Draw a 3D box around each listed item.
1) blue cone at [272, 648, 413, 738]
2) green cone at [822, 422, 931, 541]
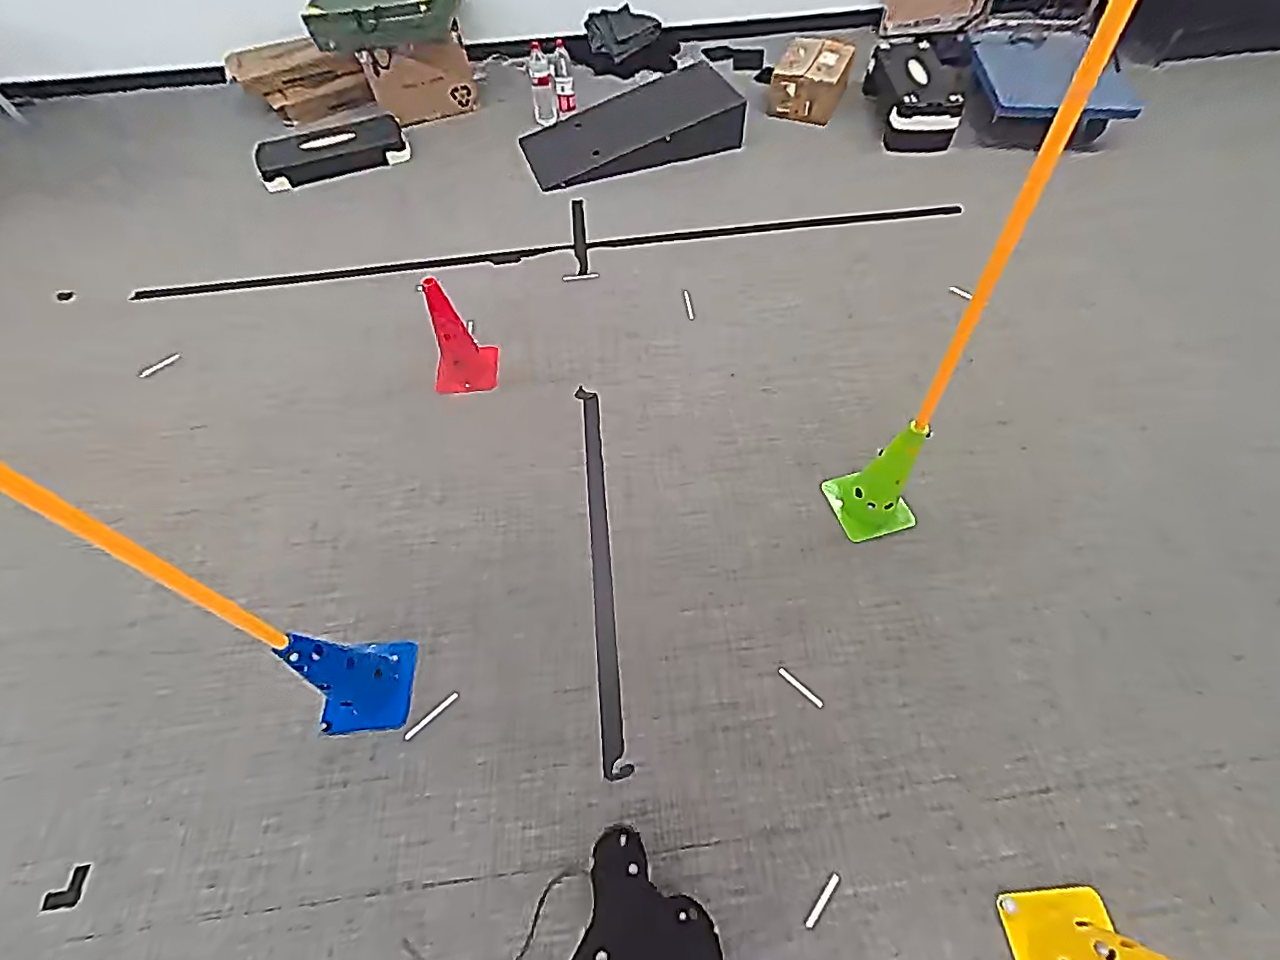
[{"bbox_3d":[-0.645,0.414,1.144,0.193,0.380,0.192,-4,58,0],"label":"blue cone"},{"bbox_3d":[0.629,-0.025,1.360,0.200,0.368,0.202,-15,60,-7],"label":"green cone"}]
